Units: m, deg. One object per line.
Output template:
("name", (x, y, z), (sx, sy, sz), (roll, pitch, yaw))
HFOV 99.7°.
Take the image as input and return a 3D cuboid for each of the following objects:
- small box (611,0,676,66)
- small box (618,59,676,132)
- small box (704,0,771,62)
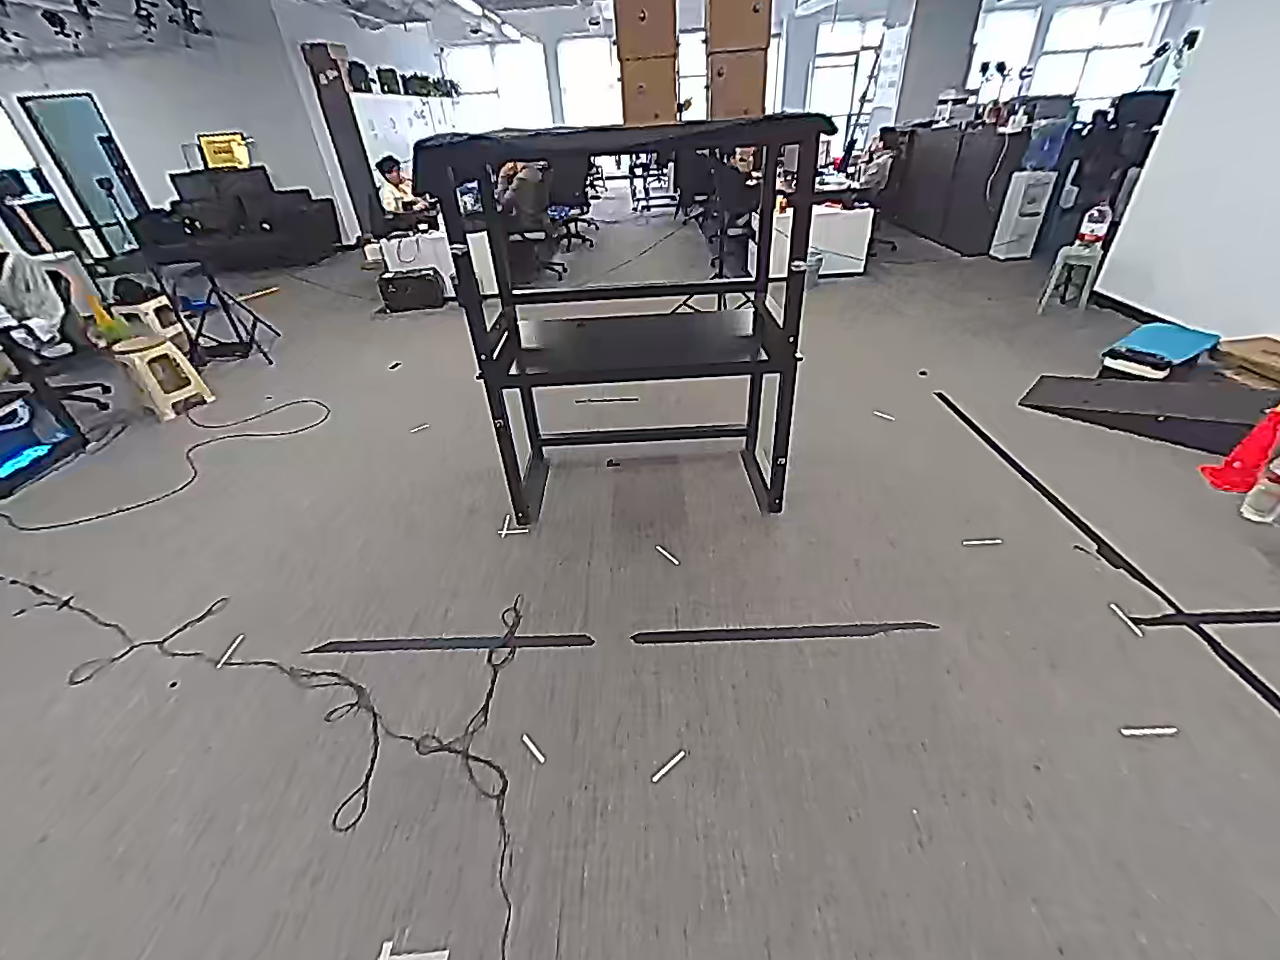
("small box", (0.016, -1.317, 1.576), (0.179, 0.176, 0.168), (-3, 32, 5))
("small box", (0.028, -1.185, 1.674), (0.168, 0.176, 0.179), (-1, 33, 4))
("small box", (0.276, -1.323, 1.558), (0.179, 0.176, 0.168), (-4, 32, 3))
